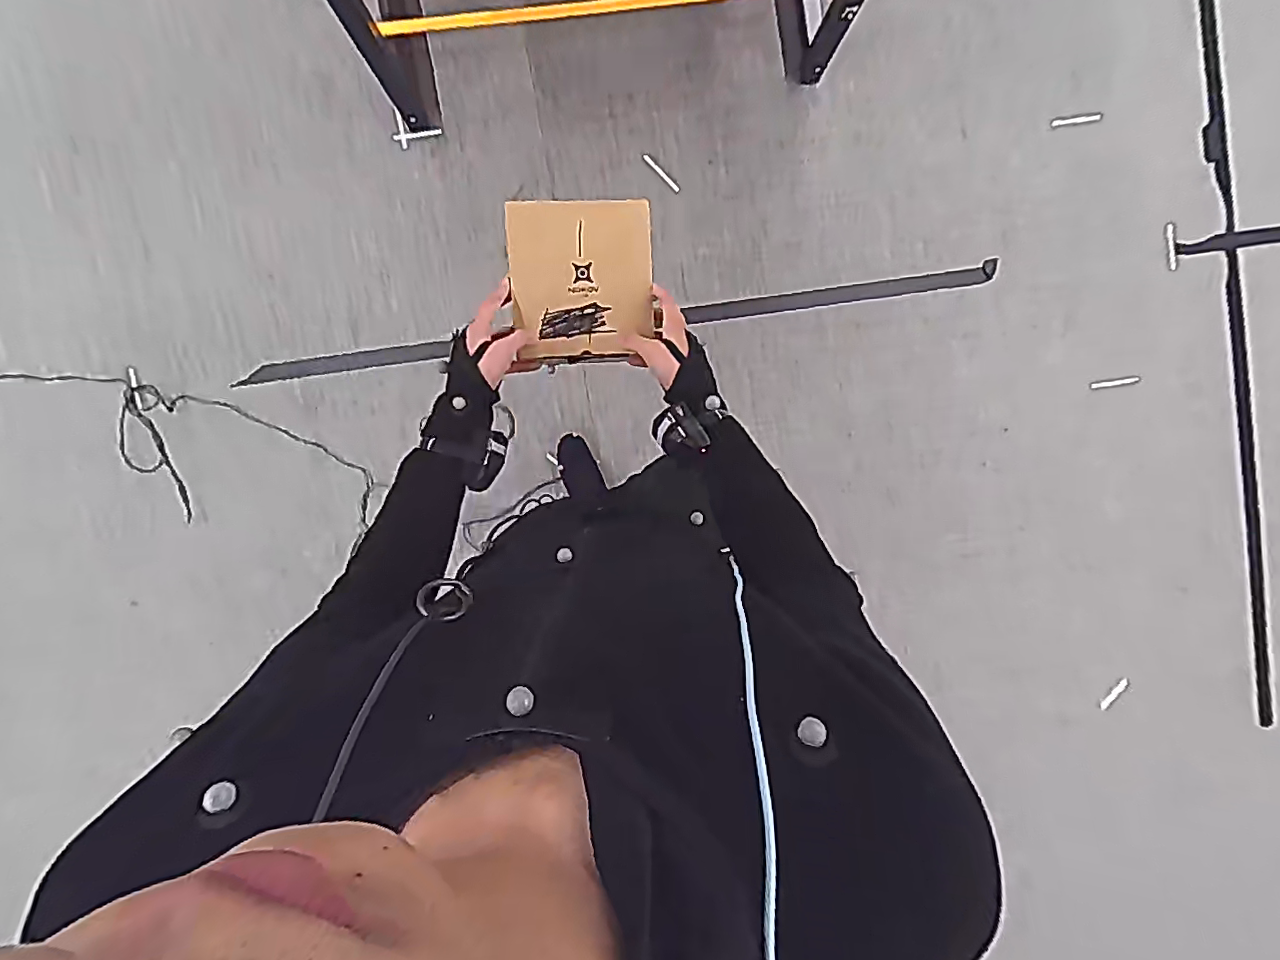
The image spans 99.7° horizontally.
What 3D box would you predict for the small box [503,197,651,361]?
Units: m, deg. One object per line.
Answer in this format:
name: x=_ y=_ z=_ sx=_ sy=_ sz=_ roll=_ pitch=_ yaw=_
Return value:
small box: x=-0.077 y=-0.245 z=0.697 sx=0.168 sy=0.176 sz=0.179 roll=-3 pitch=100 yaw=-6
